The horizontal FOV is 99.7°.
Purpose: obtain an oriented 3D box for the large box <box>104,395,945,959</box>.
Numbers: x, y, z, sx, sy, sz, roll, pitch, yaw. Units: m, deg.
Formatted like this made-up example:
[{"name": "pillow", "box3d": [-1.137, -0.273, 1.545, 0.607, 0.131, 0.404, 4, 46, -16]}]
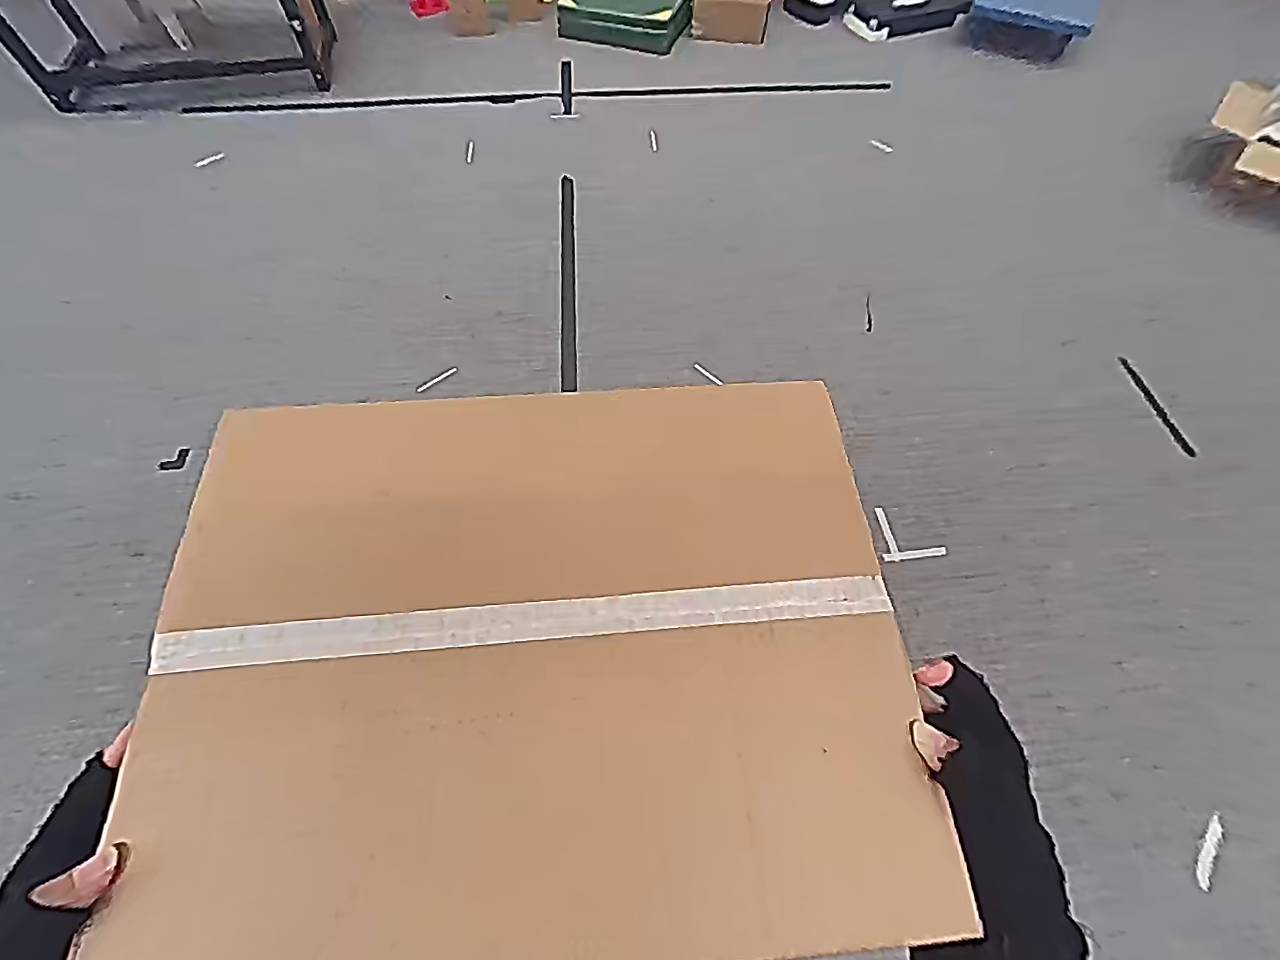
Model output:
[{"name": "large box", "box3d": [-0.065, 0.154, 0.450, 0.408, 0.320, 0.320, -4, 65, -4]}]
